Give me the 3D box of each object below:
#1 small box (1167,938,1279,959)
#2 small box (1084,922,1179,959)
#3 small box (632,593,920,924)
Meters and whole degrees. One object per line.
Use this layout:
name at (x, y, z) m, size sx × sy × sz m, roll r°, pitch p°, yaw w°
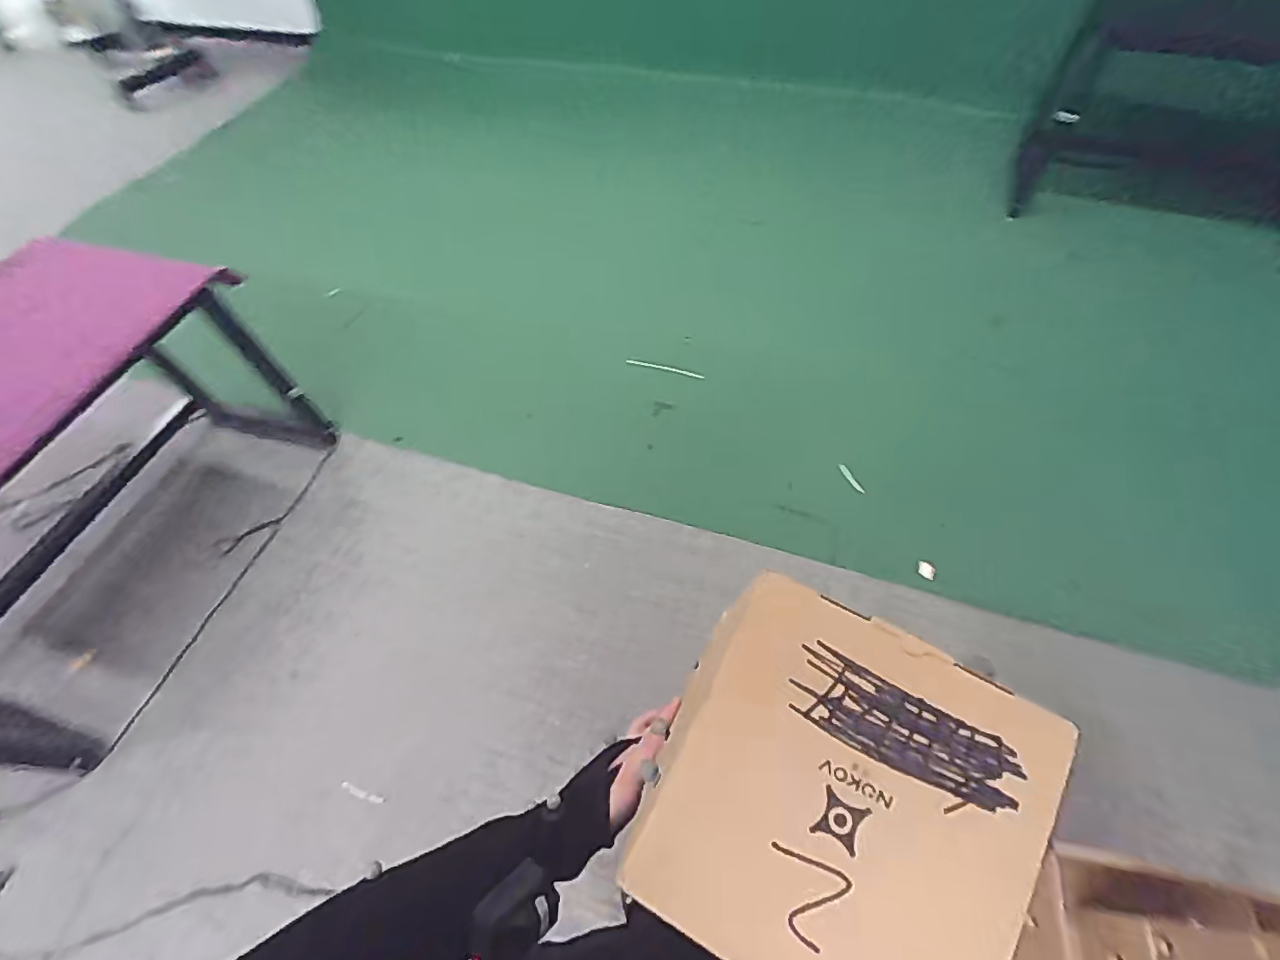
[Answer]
small box at (0.769, 0.665, 0.625) m, size 0.179 × 0.176 × 0.168 m, roll 13°, pitch 59°, yaw 10°
small box at (0.775, 0.753, 0.764) m, size 0.179 × 0.176 × 0.168 m, roll 10°, pitch 58°, yaw 8°
small box at (0.111, 0.226, 0.484) m, size 0.168 × 0.176 × 0.179 m, roll 26°, pitch 75°, yaw 12°
